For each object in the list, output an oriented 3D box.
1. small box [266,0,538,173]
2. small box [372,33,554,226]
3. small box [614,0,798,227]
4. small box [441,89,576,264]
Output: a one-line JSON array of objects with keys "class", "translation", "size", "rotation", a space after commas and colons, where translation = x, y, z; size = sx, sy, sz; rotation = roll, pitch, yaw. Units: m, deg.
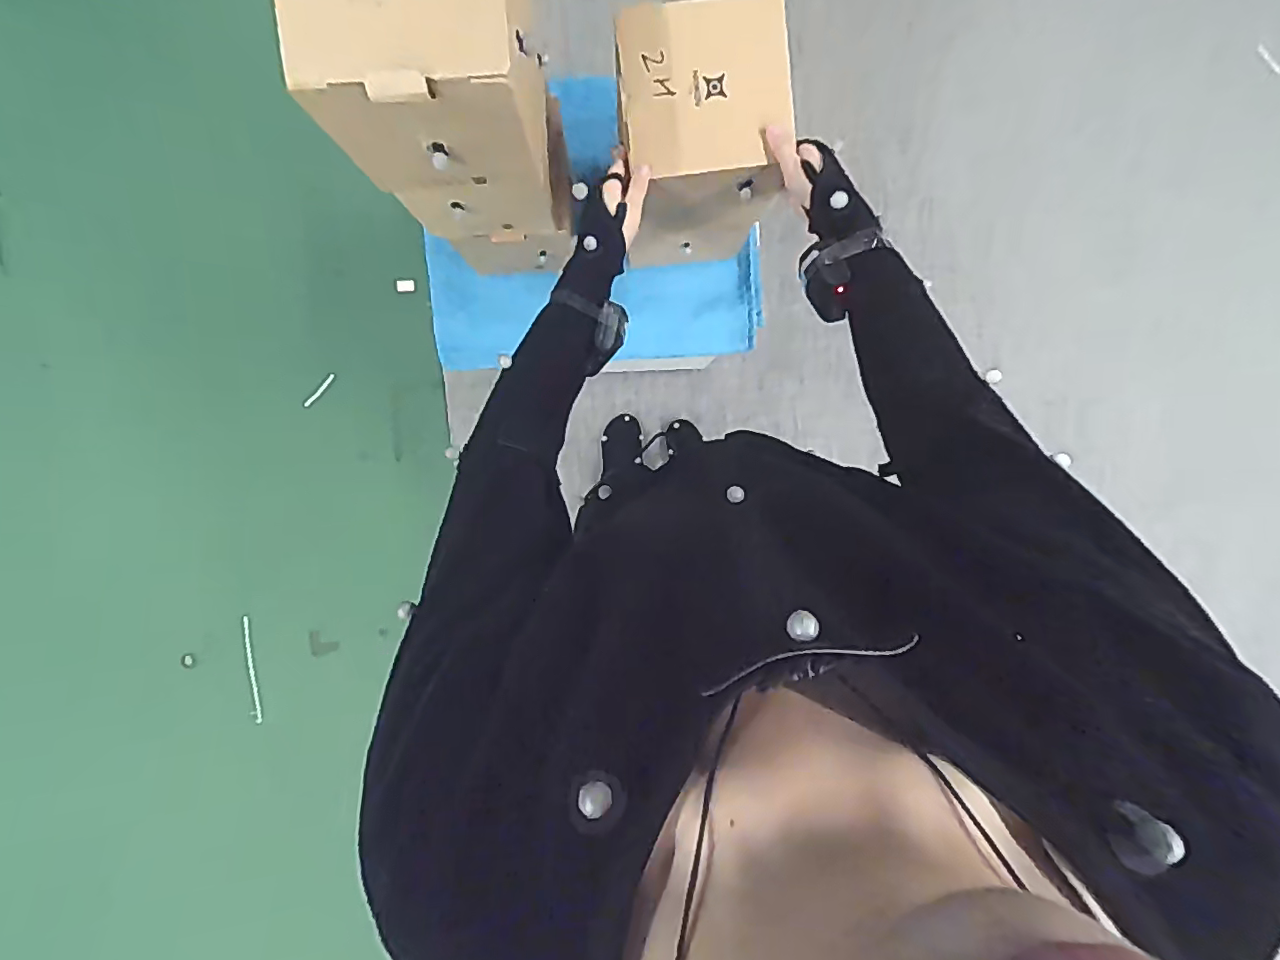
[{"class": "small box", "translation": [-0.182, -0.383, 0.457], "size": [0.168, 0.176, 0.179], "rotation": [-2, 95, -2]}, {"class": "small box", "translation": [-0.192, -0.407, 0.619], "size": [0.168, 0.176, 0.179], "rotation": [-2, 94, -1]}, {"class": "small box", "translation": [0.066, -0.408, 0.619], "size": [0.179, 0.176, 0.168], "rotation": [-6, 95, 0]}, {"class": "small box", "translation": [-0.184, -0.421, 0.781], "size": [0.168, 0.176, 0.179], "rotation": [-3, 94, -2]}]
